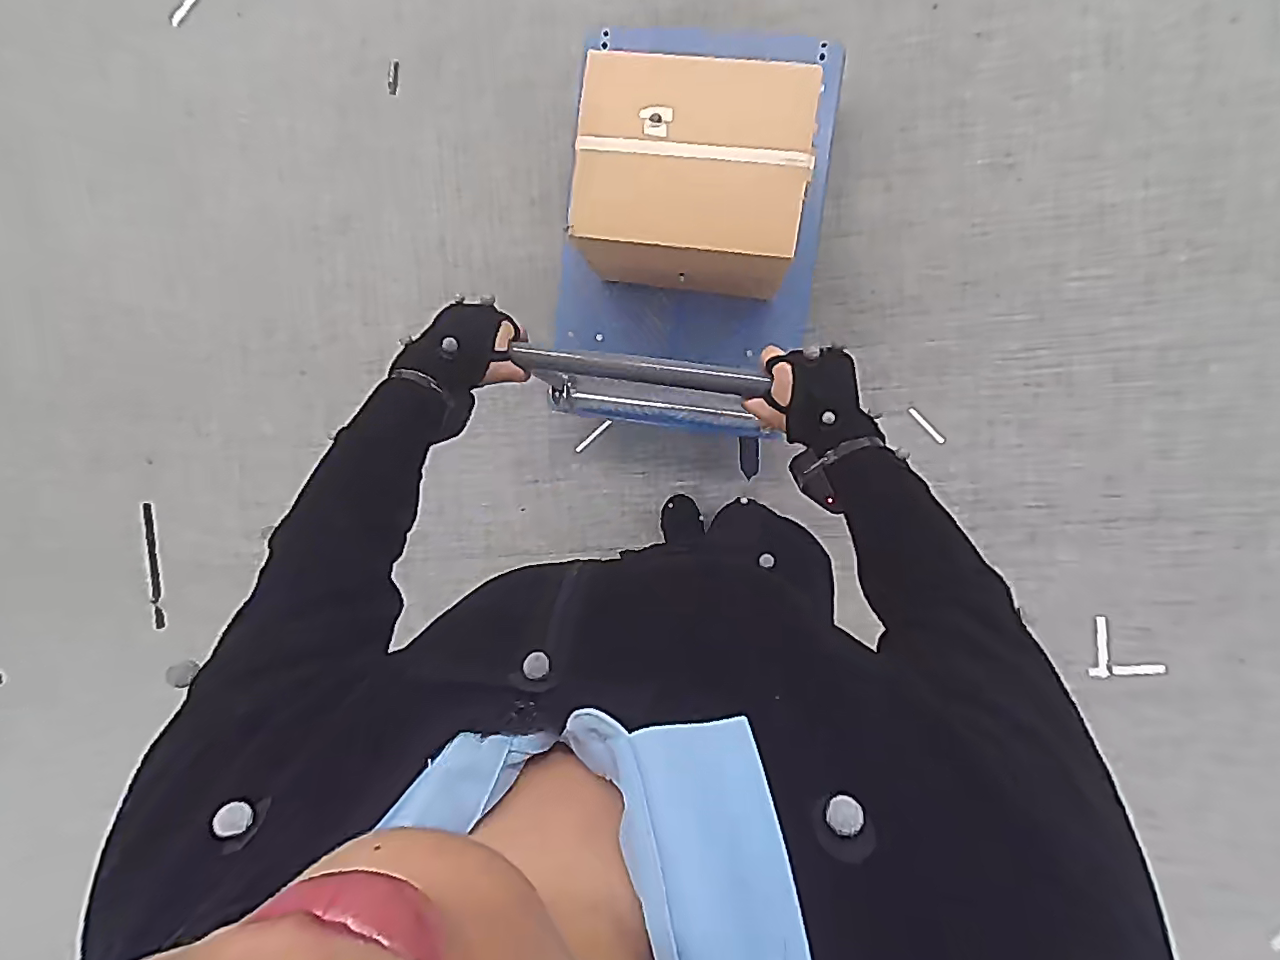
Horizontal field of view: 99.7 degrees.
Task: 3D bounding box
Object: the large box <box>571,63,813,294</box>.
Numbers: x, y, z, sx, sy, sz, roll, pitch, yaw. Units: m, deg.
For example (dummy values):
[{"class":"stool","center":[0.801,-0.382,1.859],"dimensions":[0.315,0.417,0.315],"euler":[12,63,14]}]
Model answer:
[{"class":"large box","center":[0.106,-0.583,1.103],"dimensions":[0.408,0.320,0.320],"euler":[8,95,7]}]
